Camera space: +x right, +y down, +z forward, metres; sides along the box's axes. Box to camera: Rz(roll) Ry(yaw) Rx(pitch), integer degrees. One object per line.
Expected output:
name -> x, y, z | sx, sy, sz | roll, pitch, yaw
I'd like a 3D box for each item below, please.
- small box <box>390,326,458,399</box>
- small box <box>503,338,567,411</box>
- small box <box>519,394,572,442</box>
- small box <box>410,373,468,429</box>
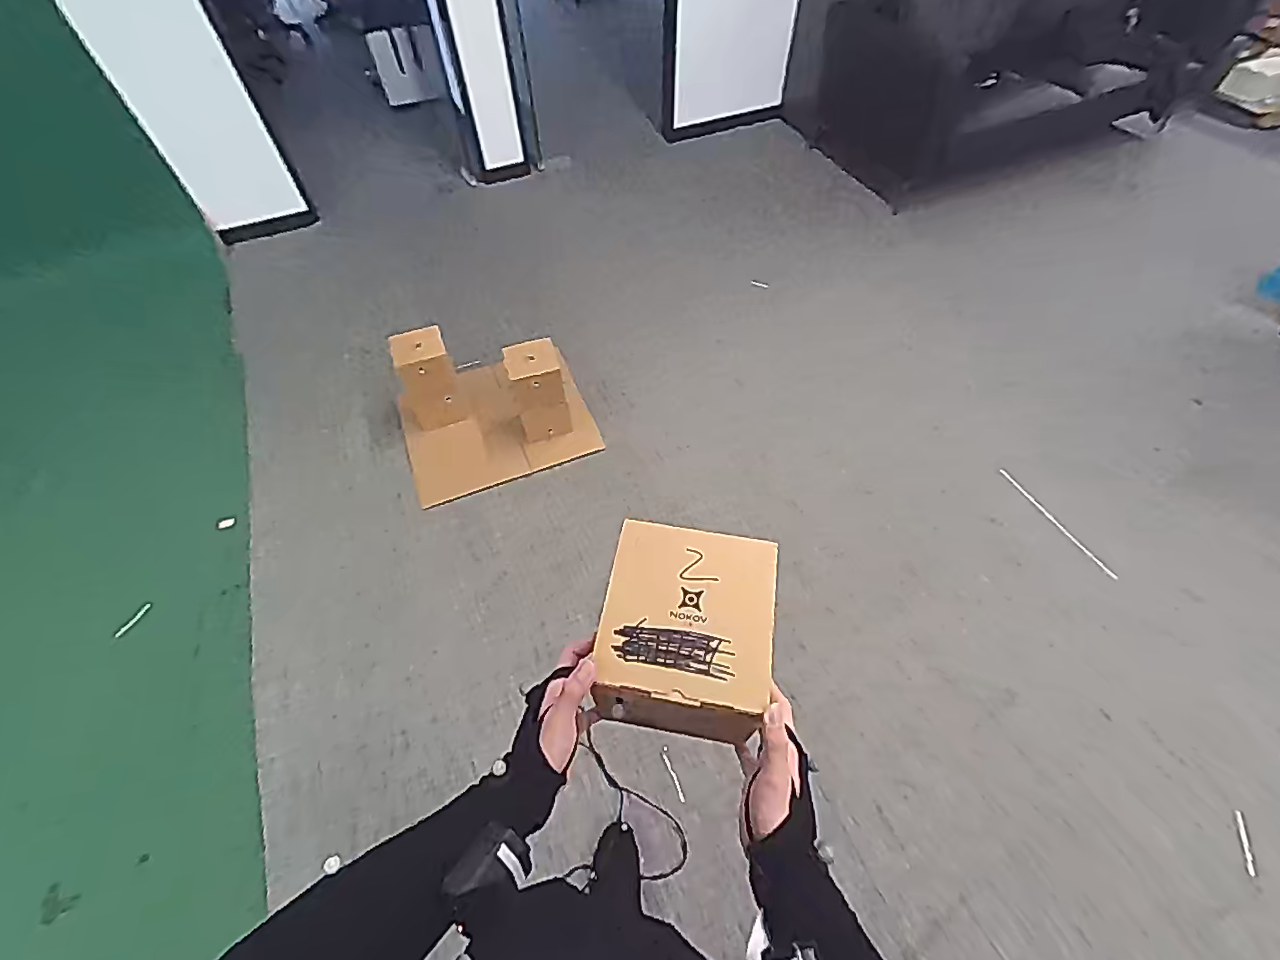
small box -> -0.765, -0.418, 1.933 | 0.179, 0.176, 0.168 | -19, 58, -11
small box -> -0.365, -0.364, 1.892 | 0.179, 0.176, 0.168 | -15, 57, -9
small box -> -0.360, -0.270, 2.026 | 0.179, 0.176, 0.168 | -17, 57, -11
small box -> -0.769, -0.324, 2.065 | 0.179, 0.176, 0.168 | -18, 57, -11
